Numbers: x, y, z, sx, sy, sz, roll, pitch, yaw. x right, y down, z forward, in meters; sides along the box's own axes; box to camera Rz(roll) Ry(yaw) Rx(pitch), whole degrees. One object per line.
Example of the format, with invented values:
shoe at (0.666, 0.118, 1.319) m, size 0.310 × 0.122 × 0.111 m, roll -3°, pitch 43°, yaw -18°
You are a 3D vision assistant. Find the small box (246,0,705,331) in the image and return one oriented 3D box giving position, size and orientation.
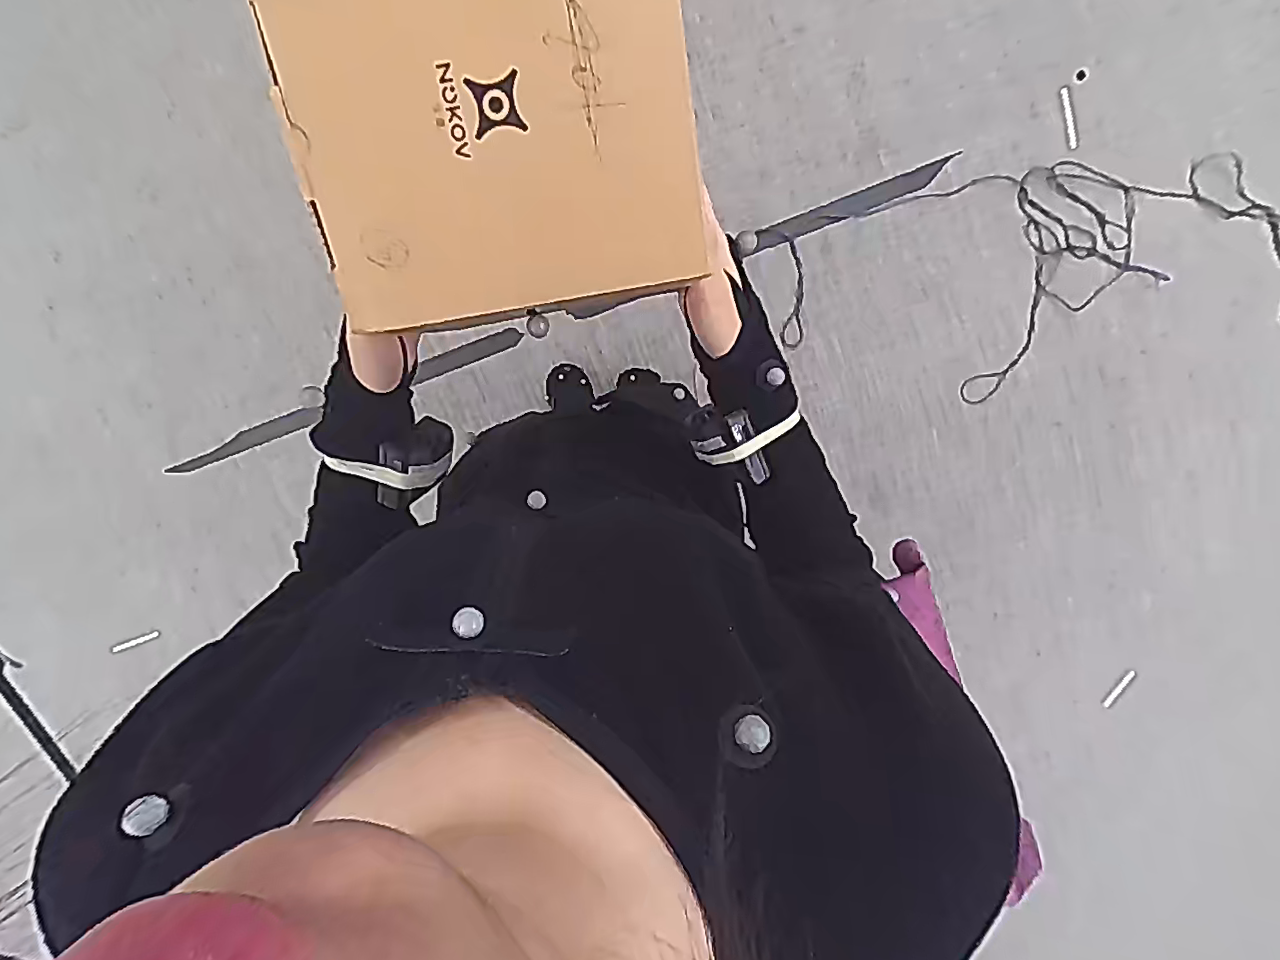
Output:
small box at (-0.067, -0.181, 0.308) m, size 0.179 × 0.176 × 0.168 m, roll -10°, pitch 107°, yaw 1°
